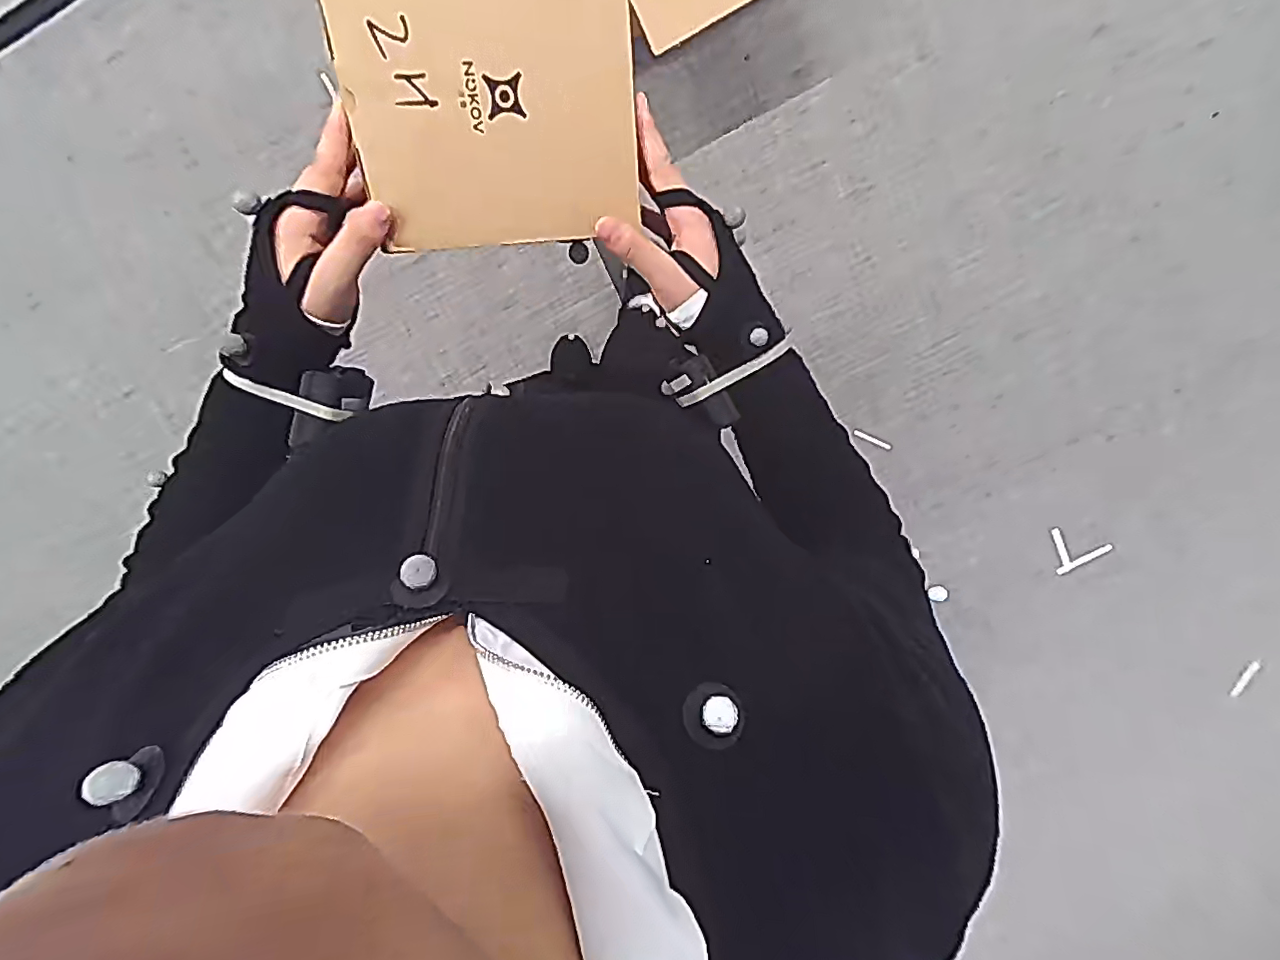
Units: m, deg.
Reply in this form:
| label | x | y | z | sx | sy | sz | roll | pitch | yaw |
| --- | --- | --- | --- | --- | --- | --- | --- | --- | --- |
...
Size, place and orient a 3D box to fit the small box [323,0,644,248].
| label | x | y | z | sx | sy | sz | roll | pitch | yaw |
| --- | --- | --- | --- | --- | --- | --- | --- | --- | --- |
| small box | -0.096 | -0.269 | 0.399 | 0.179 | 0.176 | 0.168 | -6 | 116 | -3 |
